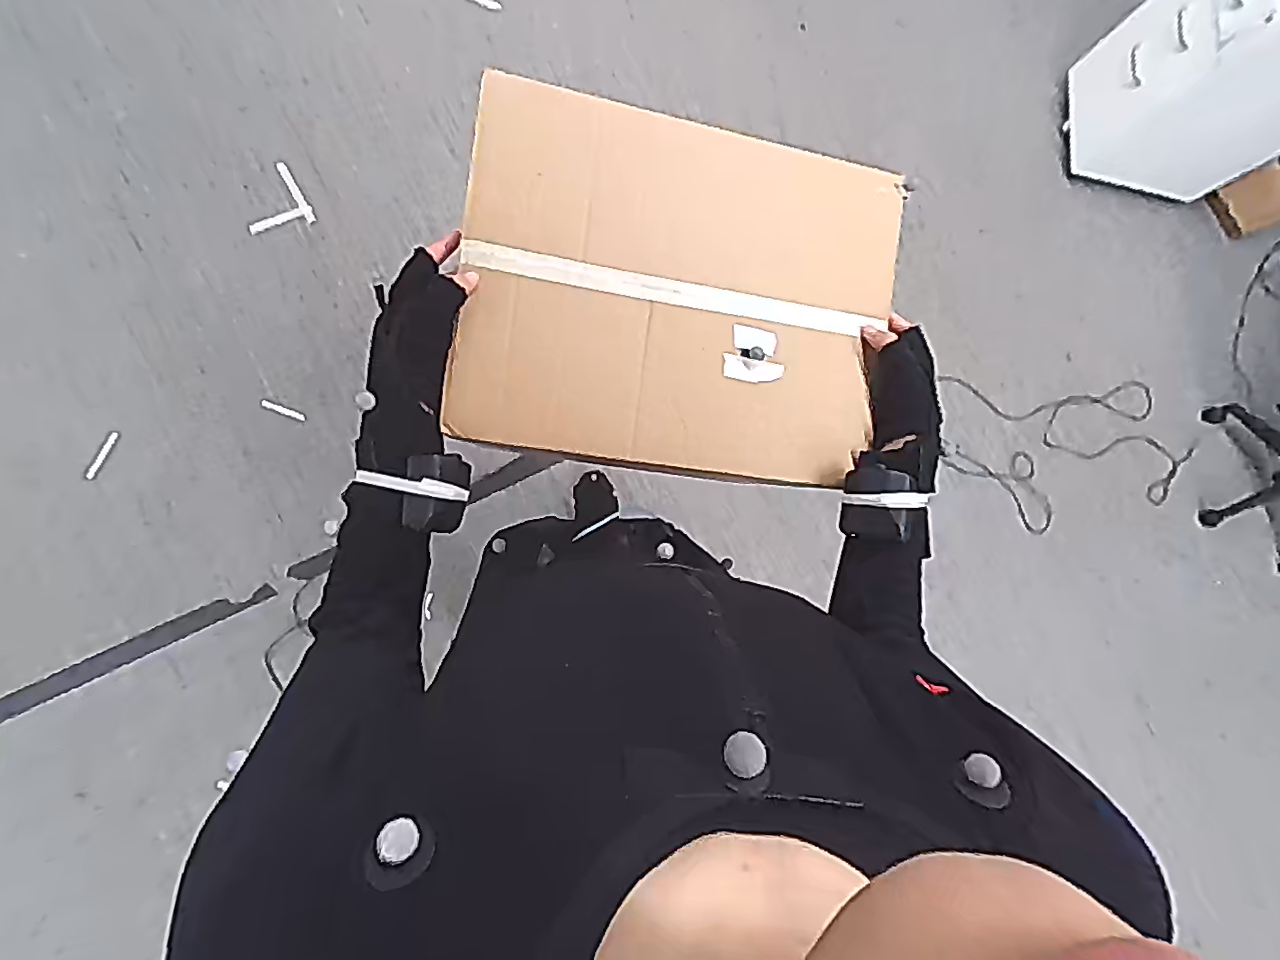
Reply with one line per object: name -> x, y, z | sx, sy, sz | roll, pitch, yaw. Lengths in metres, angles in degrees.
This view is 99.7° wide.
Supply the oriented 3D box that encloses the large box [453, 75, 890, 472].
large box -> 0.014, -0.184, 0.653 | 0.408, 0.320, 0.320 | 7, 91, -12
